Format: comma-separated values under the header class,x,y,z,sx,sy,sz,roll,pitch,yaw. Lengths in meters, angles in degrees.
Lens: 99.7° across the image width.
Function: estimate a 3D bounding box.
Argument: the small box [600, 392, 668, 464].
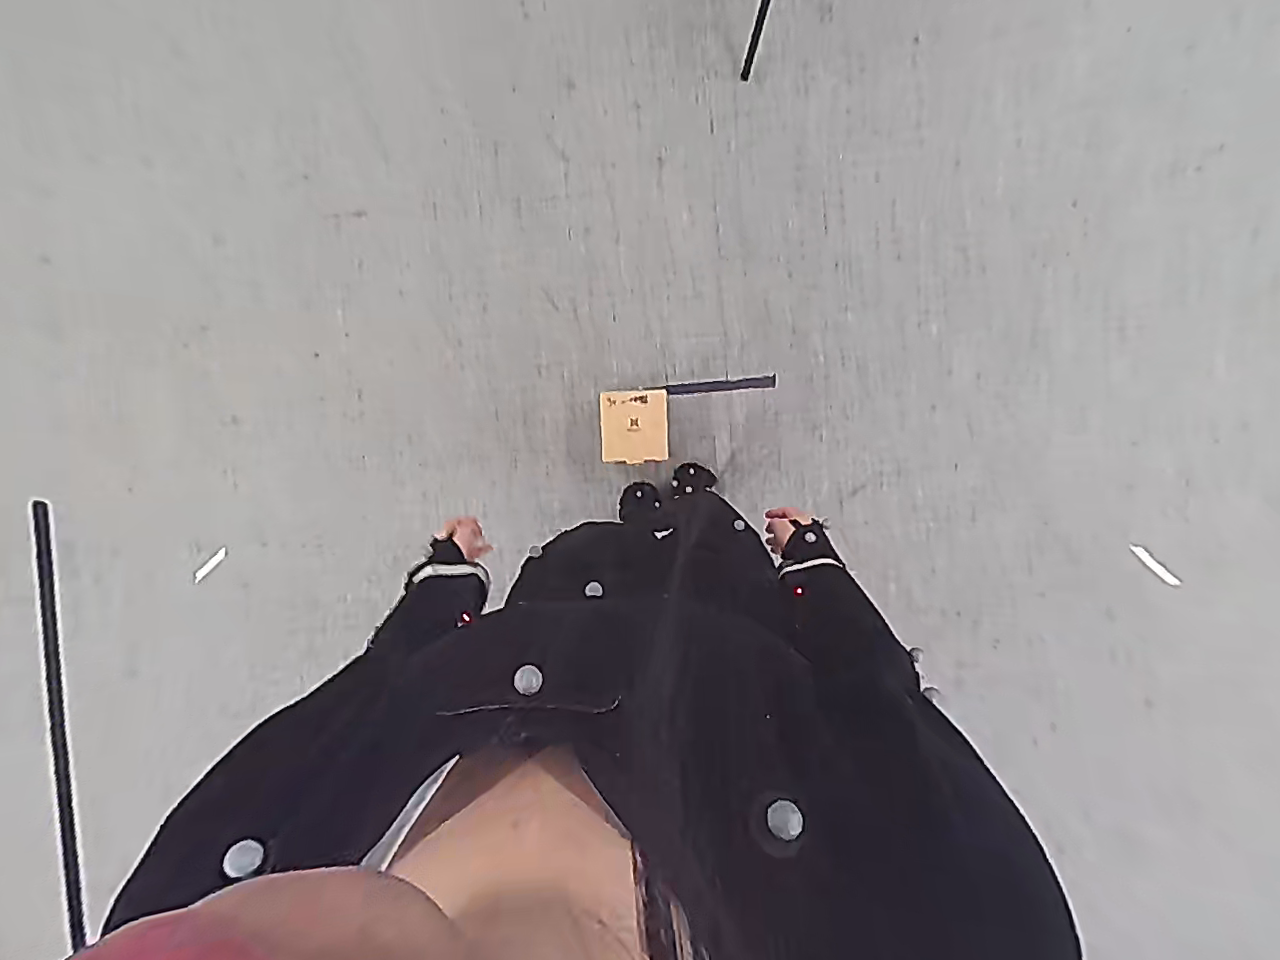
class,x,y,z,sx,sy,sz,roll,pitch,yaw
small box,-0.010,-0.132,1.411,0.168,0.176,0.179,-1,93,3
